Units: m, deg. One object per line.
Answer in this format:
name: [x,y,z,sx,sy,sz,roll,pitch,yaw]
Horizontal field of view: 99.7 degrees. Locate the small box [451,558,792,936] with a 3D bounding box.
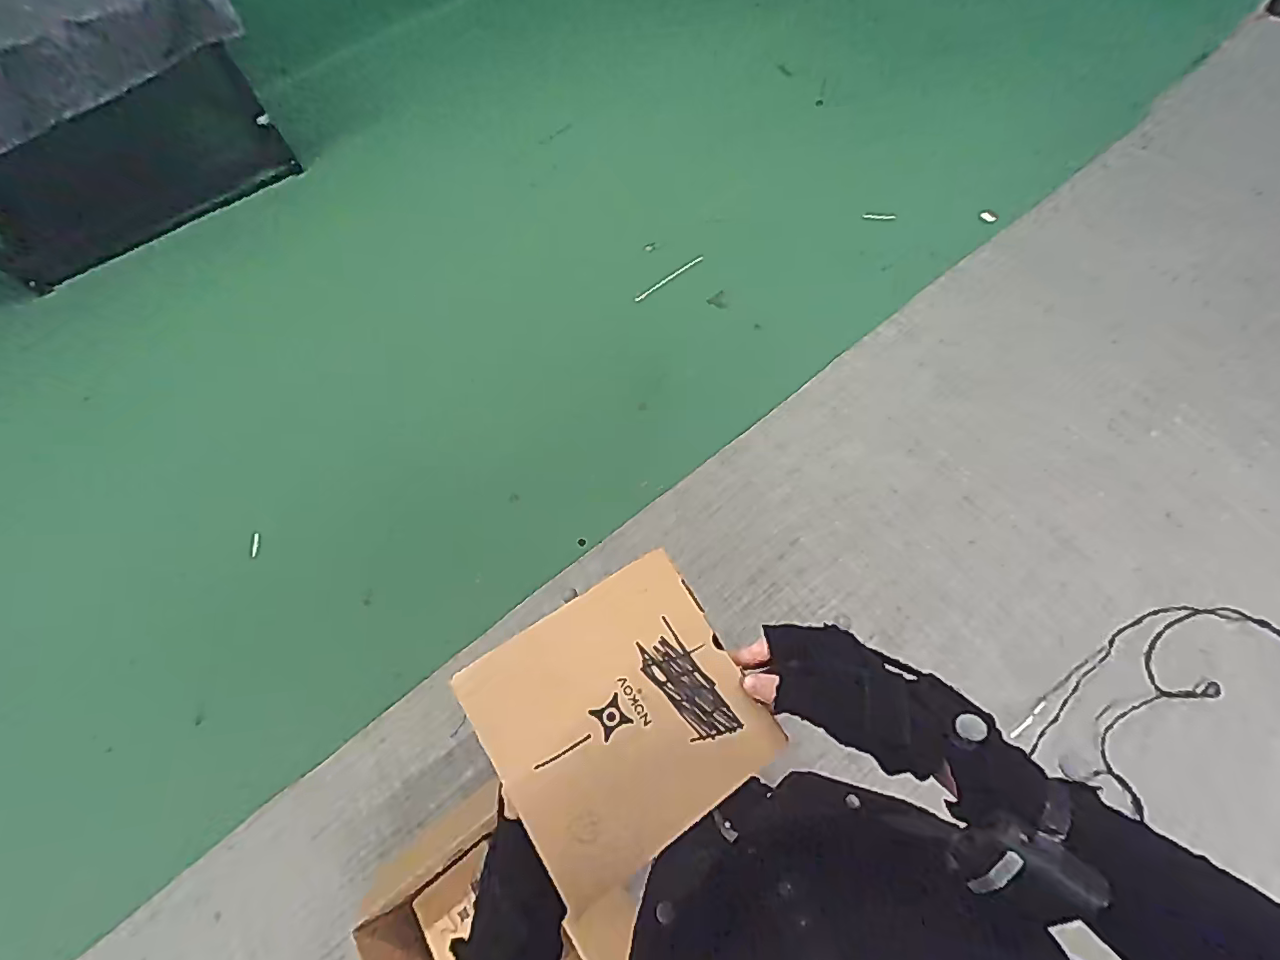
small box: [-0.021,0.186,0.428,0.179,0.176,0.168,-29,77,-16]
